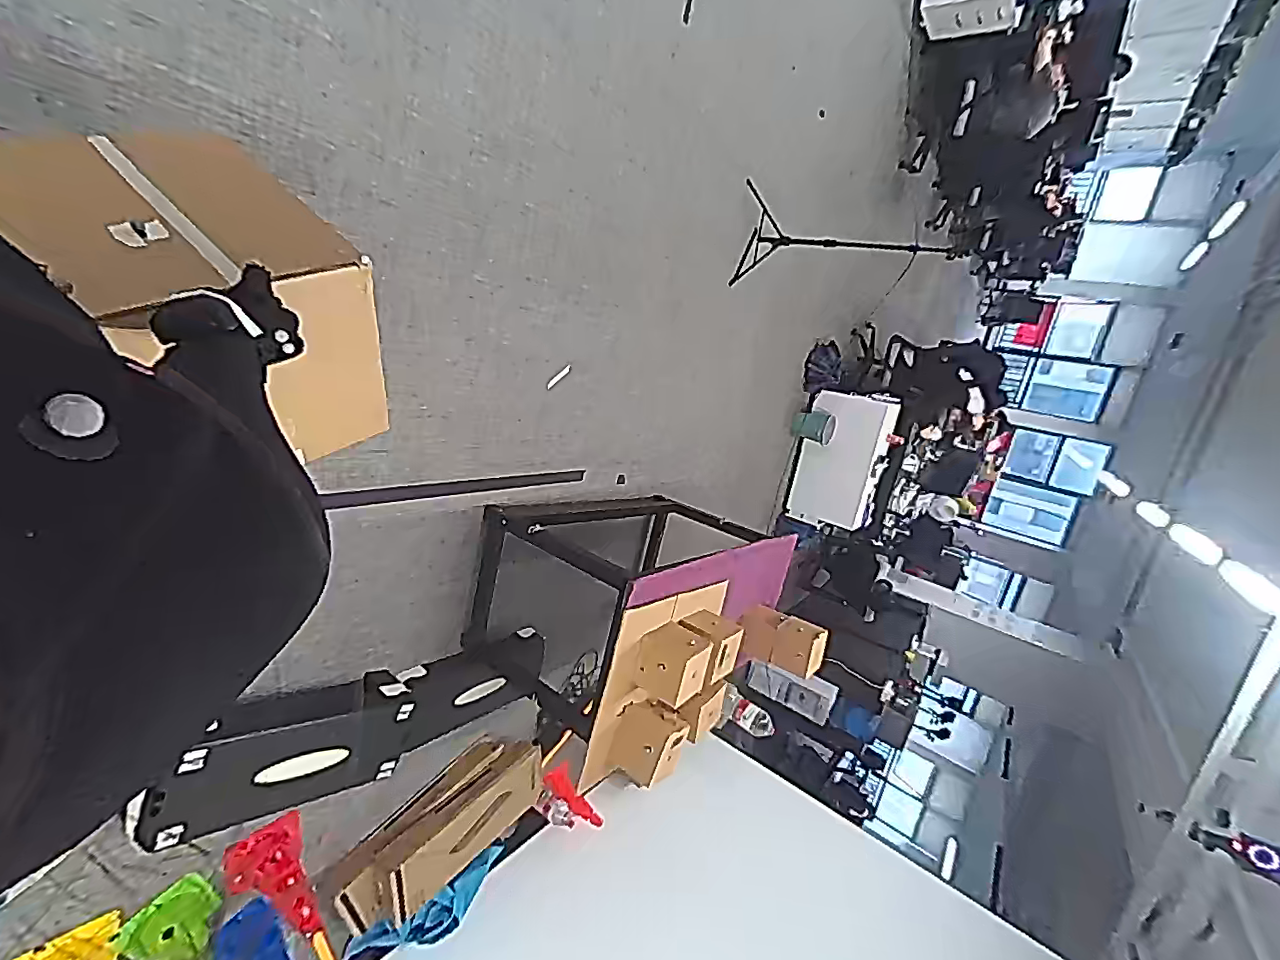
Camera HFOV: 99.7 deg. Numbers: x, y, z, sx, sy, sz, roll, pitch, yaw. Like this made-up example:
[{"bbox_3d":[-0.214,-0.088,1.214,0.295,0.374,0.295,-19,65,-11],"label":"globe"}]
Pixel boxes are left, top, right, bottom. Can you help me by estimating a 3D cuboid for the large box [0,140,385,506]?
[{"bbox_3d":[-0.641,-0.242,0.798,0.320,0.408,0.320,-36,159,-38],"label":"large box"}]
